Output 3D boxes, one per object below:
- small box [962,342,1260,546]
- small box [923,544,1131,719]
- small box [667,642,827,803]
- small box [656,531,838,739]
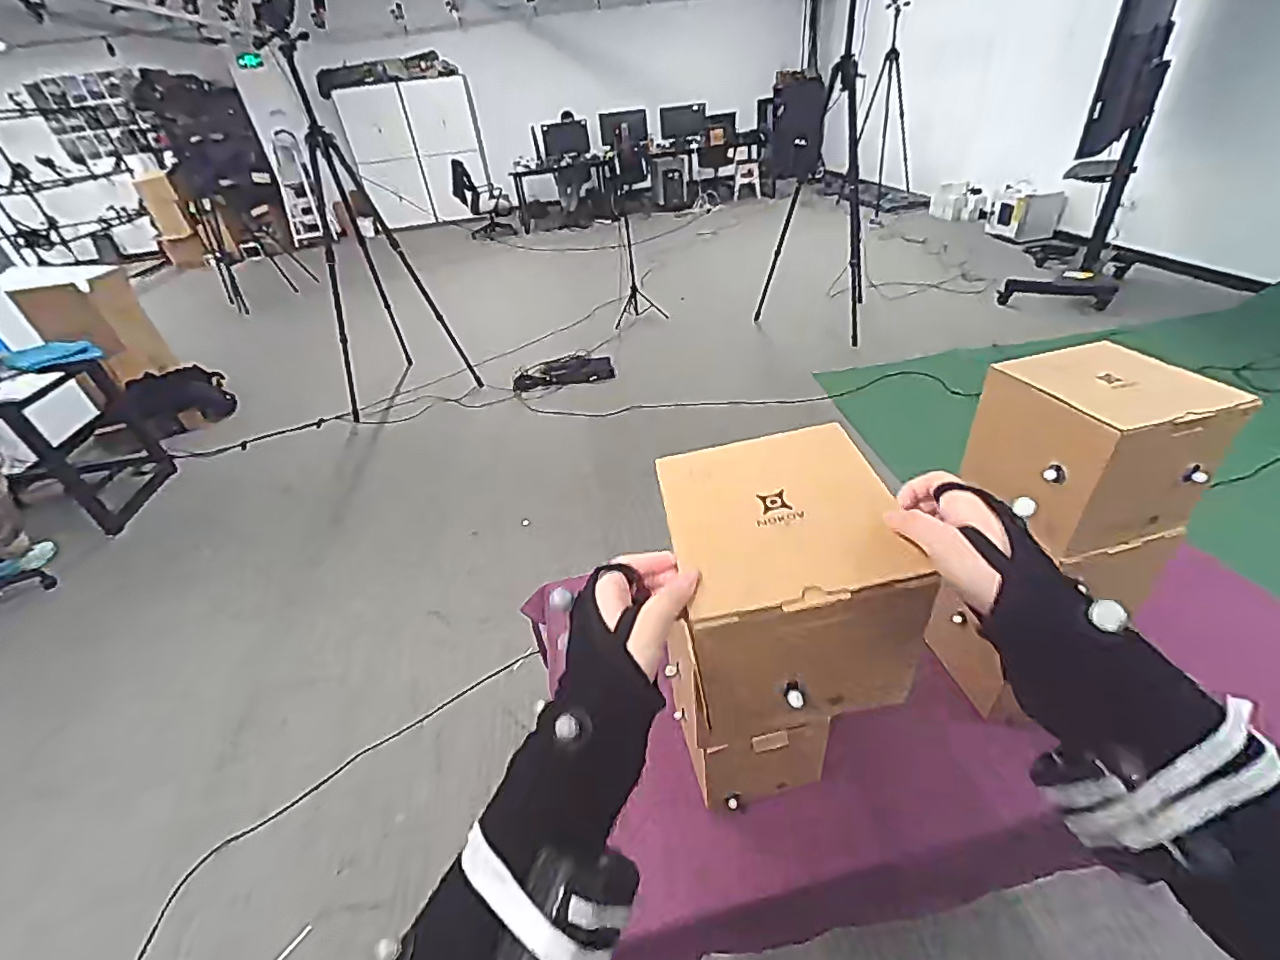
[{"bbox_3d":[0.523,-0.040,0.635,0.168,0.176,0.179,-12,35,-7],"label":"small box"},{"bbox_3d":[0.563,0.227,0.821,0.168,0.176,0.179,-11,36,-4],"label":"small box"},{"bbox_3d":[0.145,0.326,0.766,0.168,0.176,0.179,-12,35,-7],"label":"small box"},{"bbox_3d":[0.123,0.195,0.670,0.168,0.176,0.179,-11,37,-5],"label":"small box"}]
